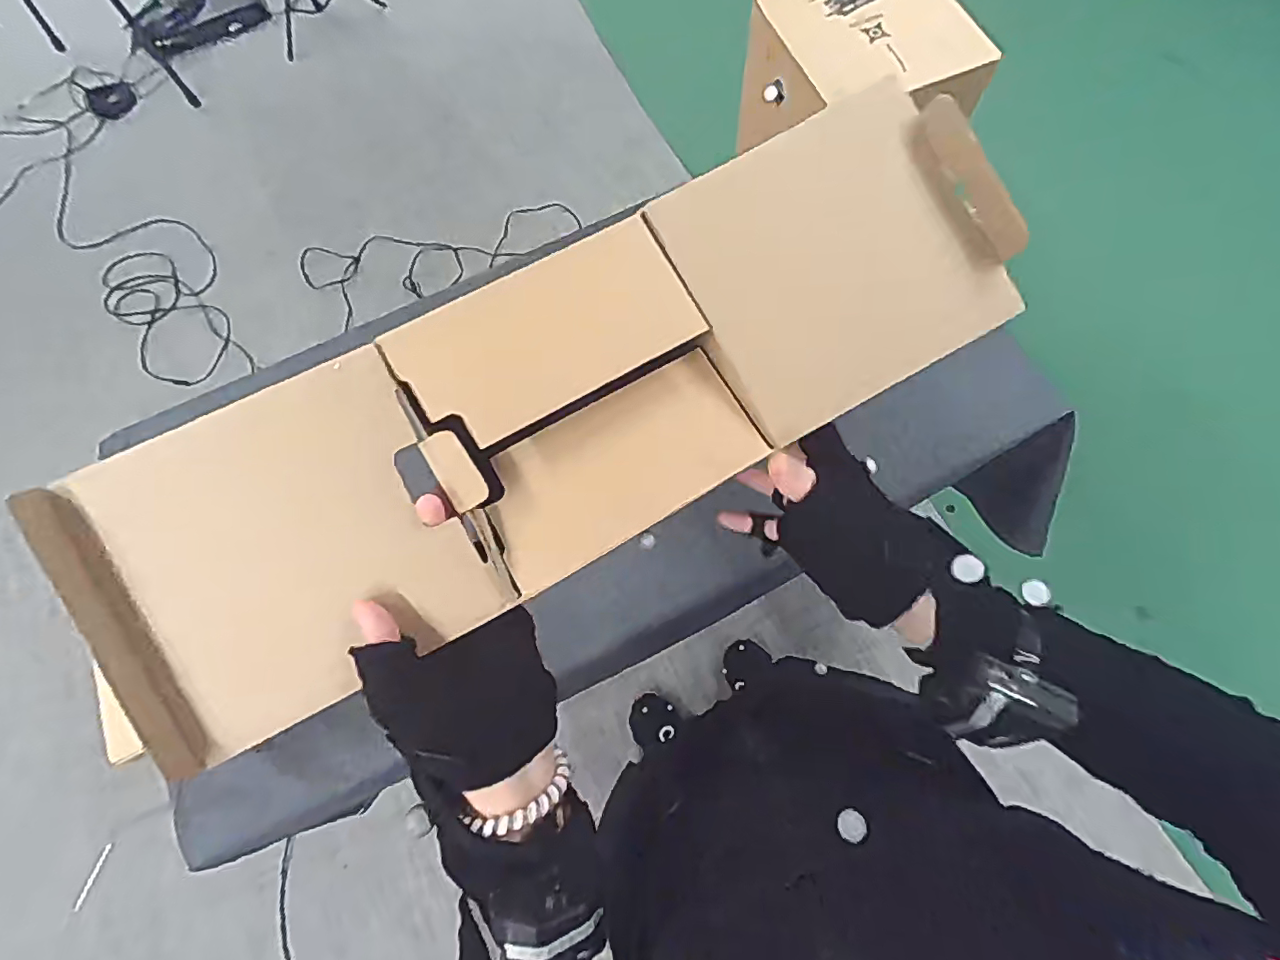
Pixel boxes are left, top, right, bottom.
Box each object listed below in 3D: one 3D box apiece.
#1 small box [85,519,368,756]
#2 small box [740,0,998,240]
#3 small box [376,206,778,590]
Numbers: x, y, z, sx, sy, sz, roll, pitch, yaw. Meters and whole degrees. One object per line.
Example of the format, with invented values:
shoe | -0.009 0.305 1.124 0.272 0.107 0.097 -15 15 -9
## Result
small box | -0.441 0.173 0.601 0.168 0.176 0.179 -28 72 -6
small box | 0.218 -0.399 0.576 0.168 0.176 0.179 -21 72 -3
small box | -0.042 -0.044 0.380 0.179 0.176 0.168 -29 92 -10
